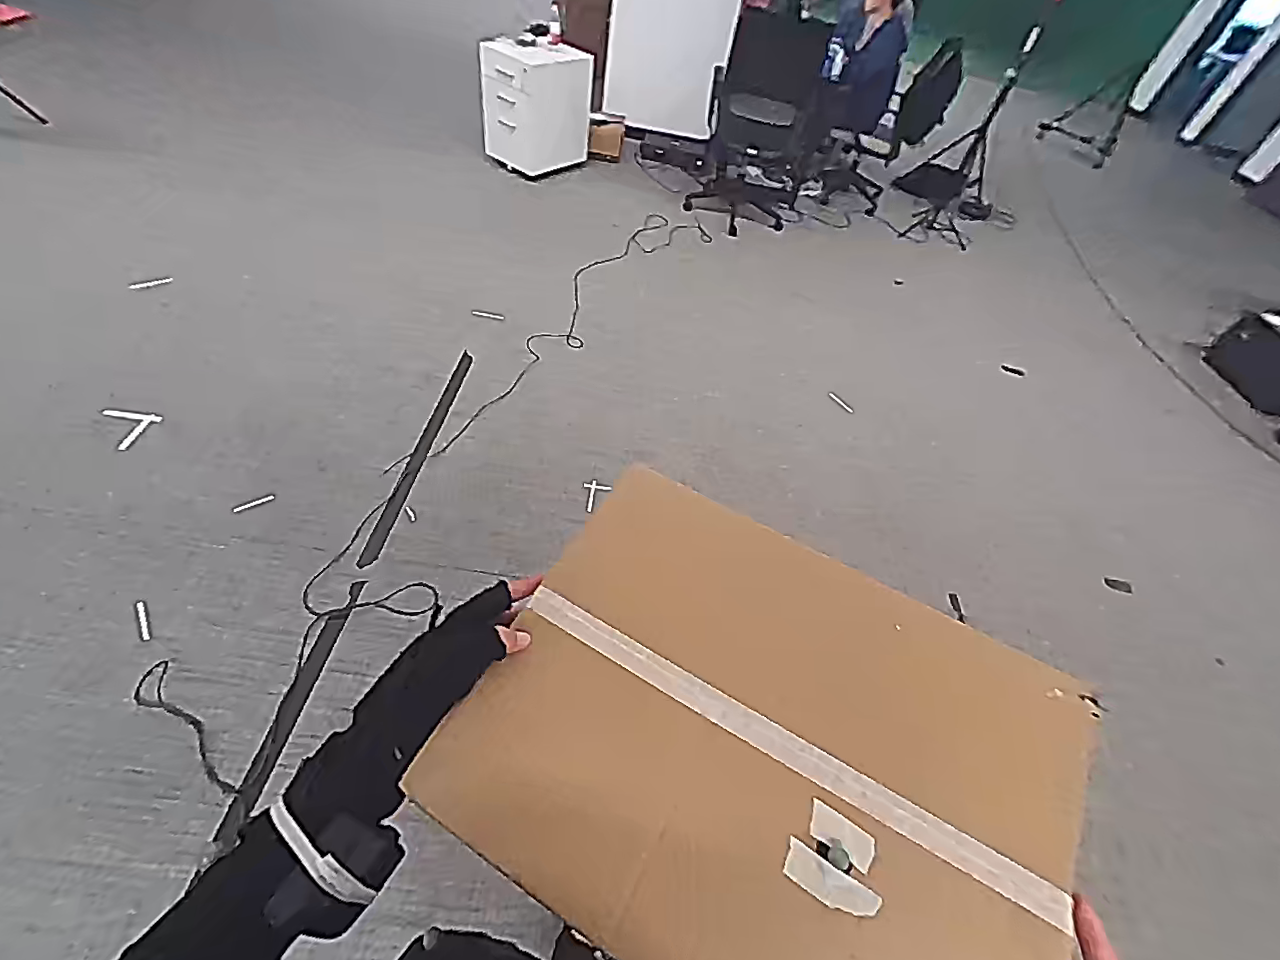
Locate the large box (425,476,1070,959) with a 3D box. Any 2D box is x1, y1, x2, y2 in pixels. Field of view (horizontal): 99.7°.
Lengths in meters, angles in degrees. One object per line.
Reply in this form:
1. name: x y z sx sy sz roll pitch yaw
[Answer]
1. large box: 0.087 0.266 0.525 0.408 0.320 0.320 27 61 15
